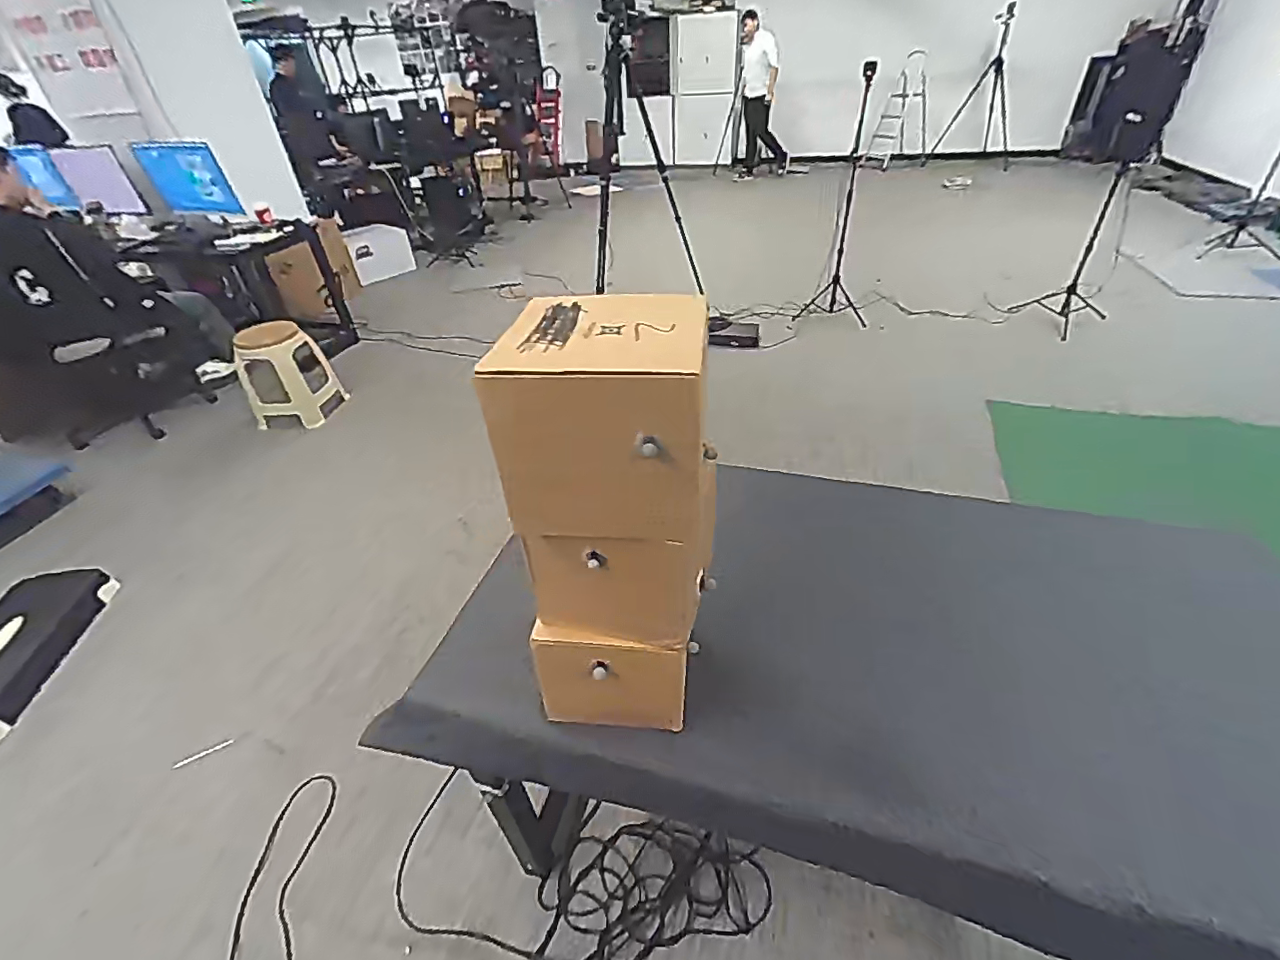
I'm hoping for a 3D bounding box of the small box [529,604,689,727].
[{"bbox_3d":[-0.025,0.198,0.702,0.179,0.176,0.168,2,37,7],"label":"small box"}]

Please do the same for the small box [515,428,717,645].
[{"bbox_3d":[-0.015,0.062,0.612,0.179,0.176,0.168,8,39,14],"label":"small box"}]
